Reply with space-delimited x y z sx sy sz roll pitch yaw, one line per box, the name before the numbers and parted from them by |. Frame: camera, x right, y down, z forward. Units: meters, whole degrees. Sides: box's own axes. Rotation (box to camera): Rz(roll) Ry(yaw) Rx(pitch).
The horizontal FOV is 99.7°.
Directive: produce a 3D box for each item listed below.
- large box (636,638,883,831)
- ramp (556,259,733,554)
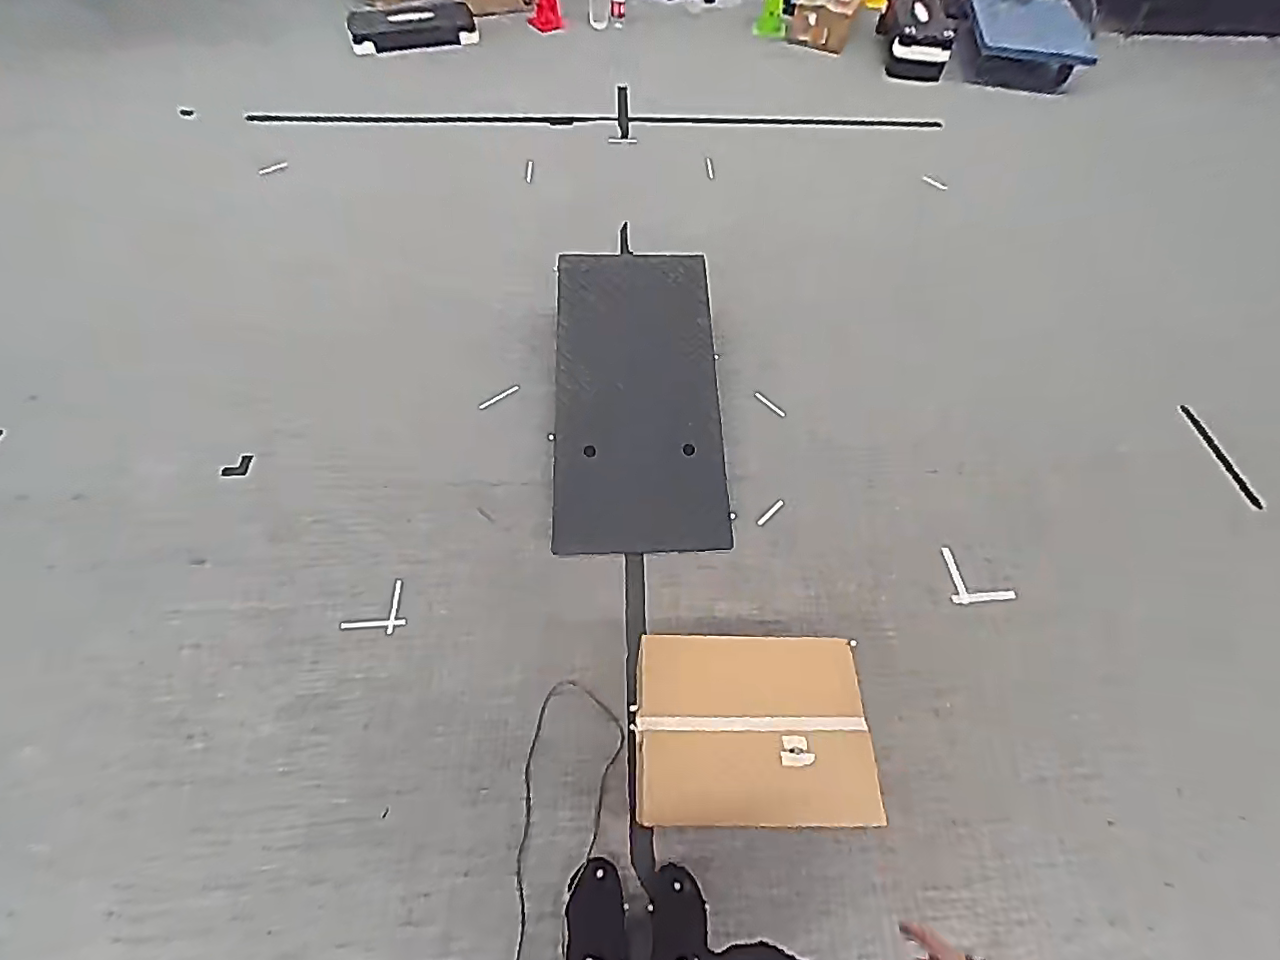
large box | 0.198 0.519 1.090 0.408 0.320 0.320 2 58 -2
ramp | -0.001 -0.270 1.637 0.509 0.206 0.991 -2 59 -4
